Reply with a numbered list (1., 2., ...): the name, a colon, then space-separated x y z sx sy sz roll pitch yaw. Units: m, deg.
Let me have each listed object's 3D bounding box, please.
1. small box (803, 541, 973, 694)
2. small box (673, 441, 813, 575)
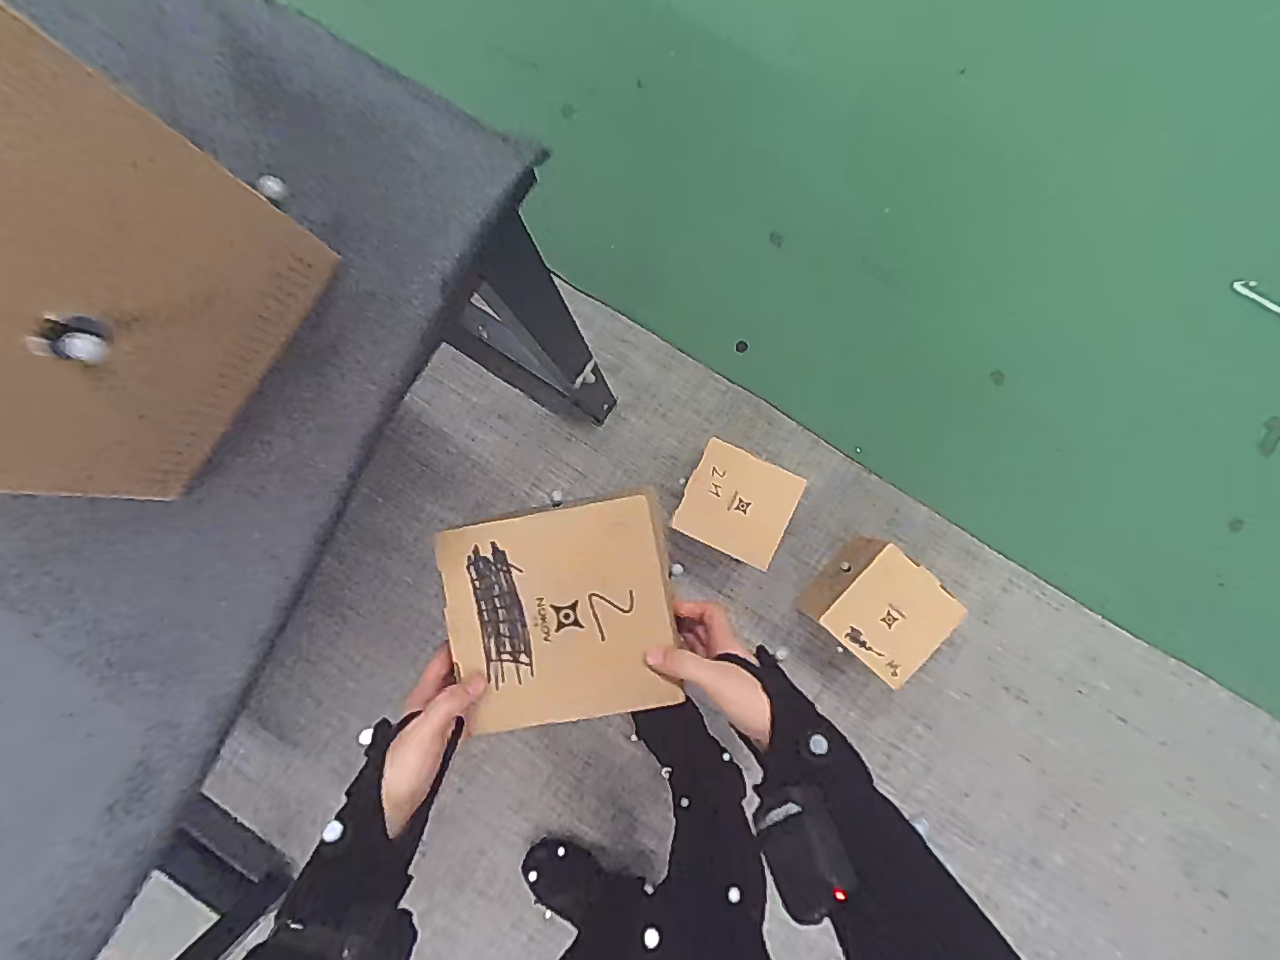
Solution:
1. small box: 0.408 0.221 0.926 0.168 0.176 0.179 43 90 4
2. small box: 0.170 0.047 0.948 0.179 0.176 0.168 26 88 4
